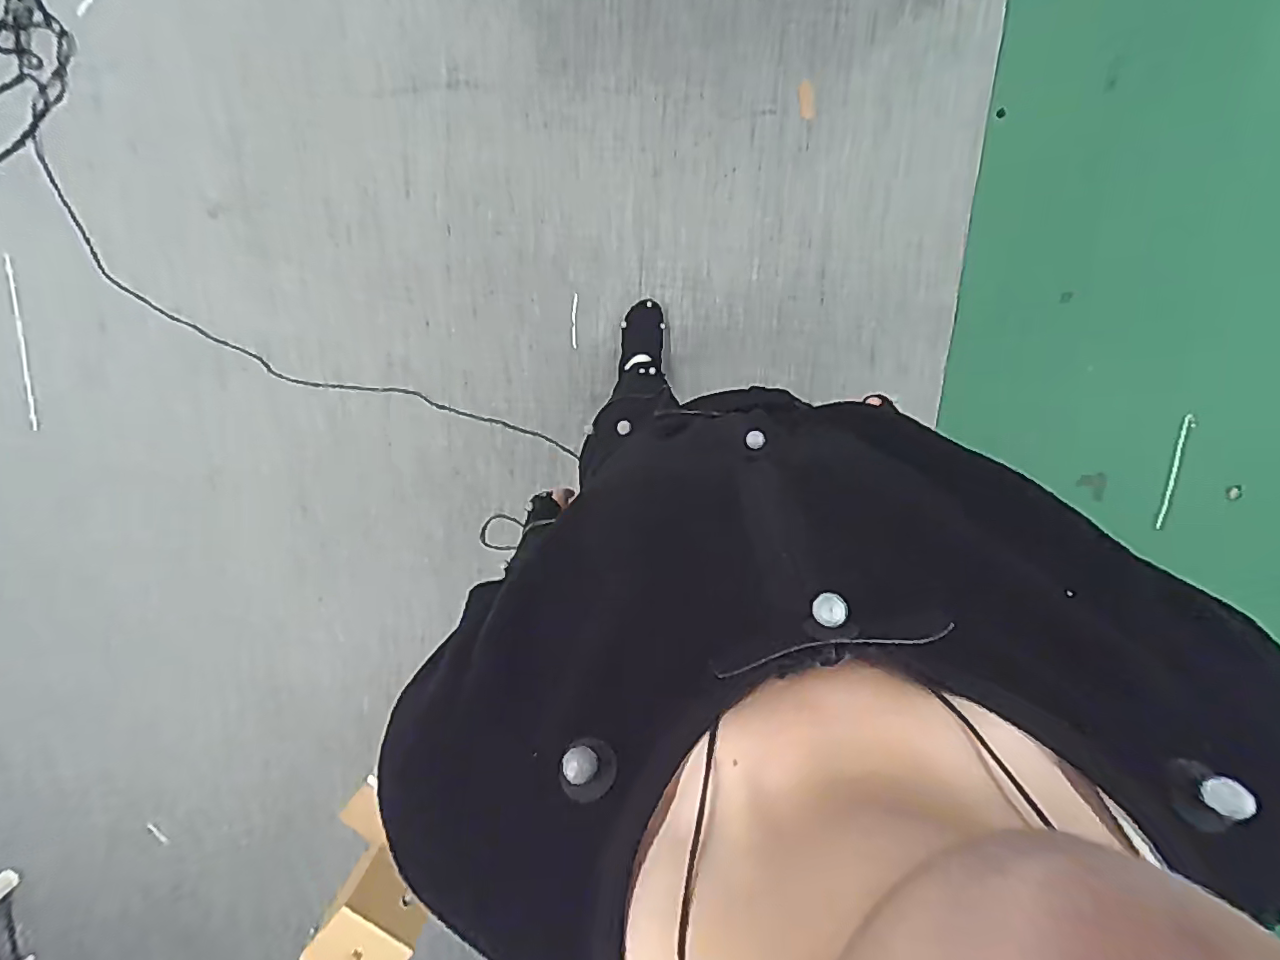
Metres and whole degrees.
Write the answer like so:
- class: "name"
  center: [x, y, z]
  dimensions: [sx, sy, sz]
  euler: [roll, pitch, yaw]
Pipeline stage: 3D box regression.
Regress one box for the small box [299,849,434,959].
- class: "small box"
  center: [-0.548, 0.908, 1.099]
  dimensions: [0.168, 0.176, 0.179]
  euler: [38, 100, -5]
